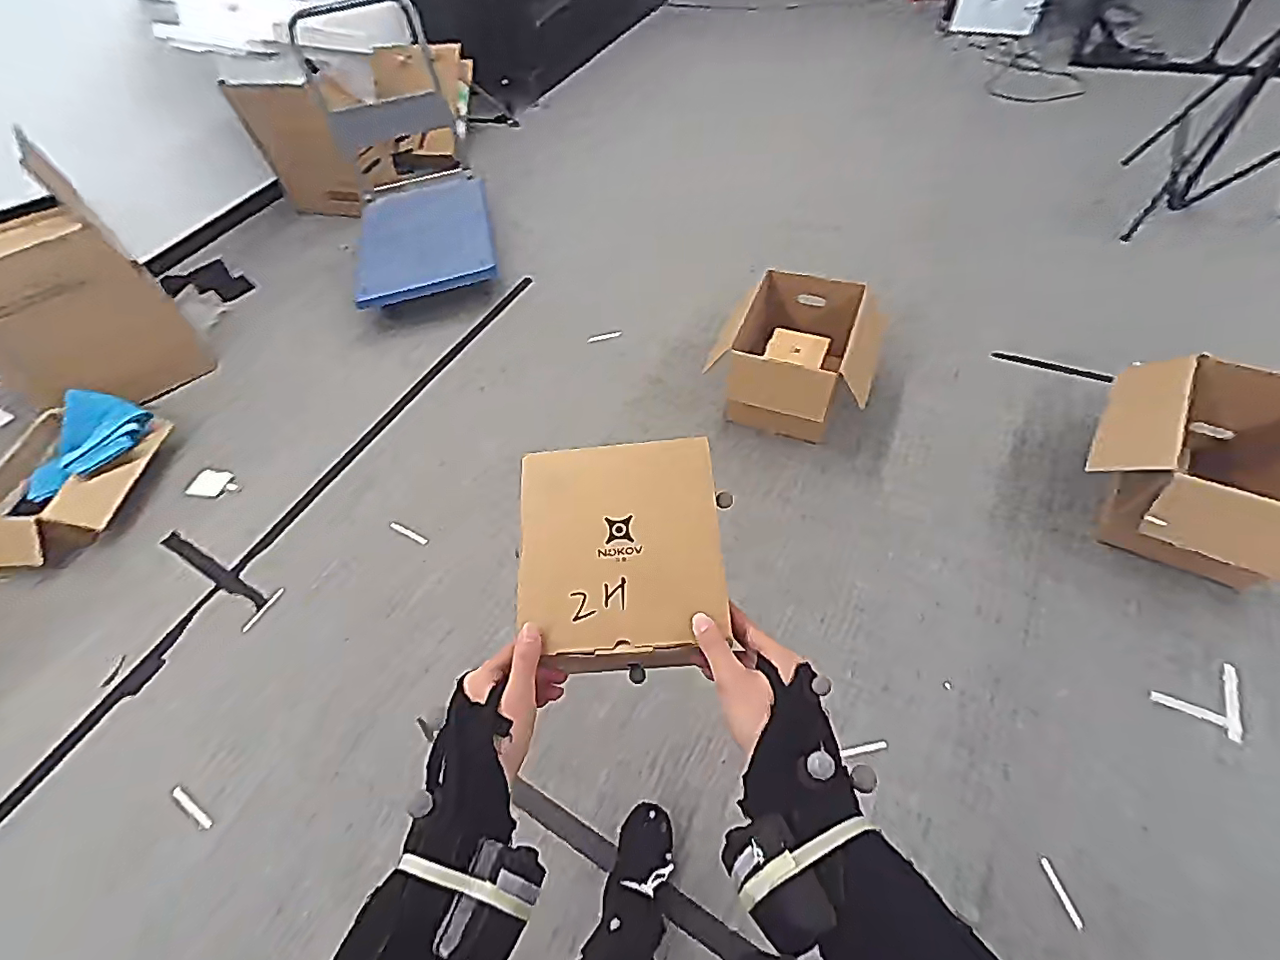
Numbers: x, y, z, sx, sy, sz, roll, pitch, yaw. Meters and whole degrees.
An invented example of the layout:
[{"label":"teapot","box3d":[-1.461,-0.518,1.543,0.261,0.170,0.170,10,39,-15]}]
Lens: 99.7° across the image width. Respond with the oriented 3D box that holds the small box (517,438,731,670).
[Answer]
[{"label":"small box","box3d":[-0.009,0.079,0.513,0.168,0.176,0.179,-4,67,4]}]
